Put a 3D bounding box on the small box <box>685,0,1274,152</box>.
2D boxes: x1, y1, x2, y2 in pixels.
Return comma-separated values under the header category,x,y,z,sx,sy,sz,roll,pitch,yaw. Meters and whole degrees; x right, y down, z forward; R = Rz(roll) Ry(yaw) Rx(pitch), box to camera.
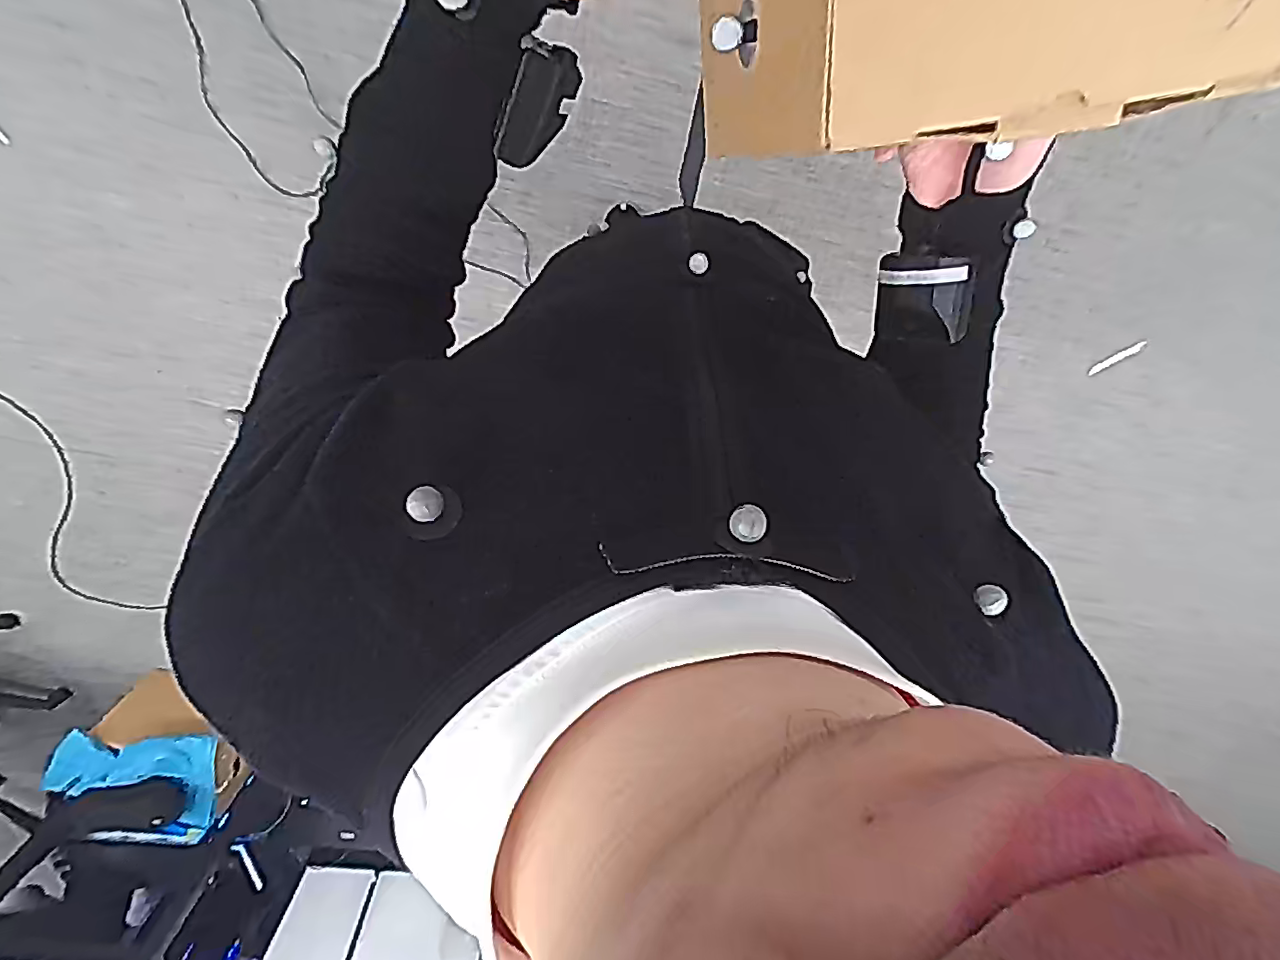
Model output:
category,x,y,z,sx,sy,sz,roll,pitch,yaw
small box,0.115,-0.241,0.216,0.168,0.176,0.179,-10,120,-4
